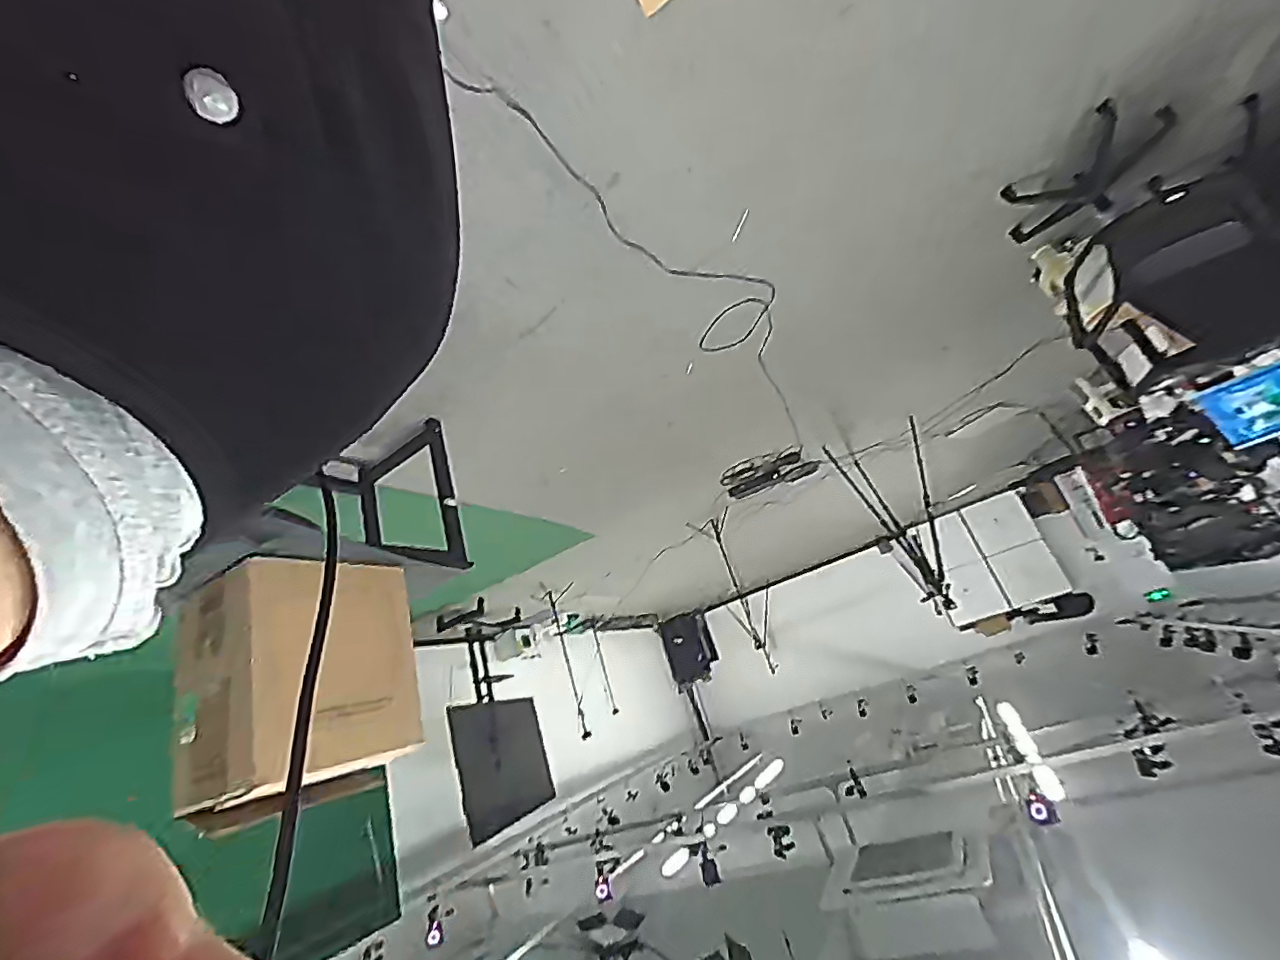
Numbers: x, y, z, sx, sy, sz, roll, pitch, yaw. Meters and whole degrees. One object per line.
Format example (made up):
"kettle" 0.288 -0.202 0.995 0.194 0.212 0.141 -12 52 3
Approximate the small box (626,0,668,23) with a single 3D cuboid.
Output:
"small box" 0.008 -1.111 1.101 0.179 0.176 0.168 -28 156 21
